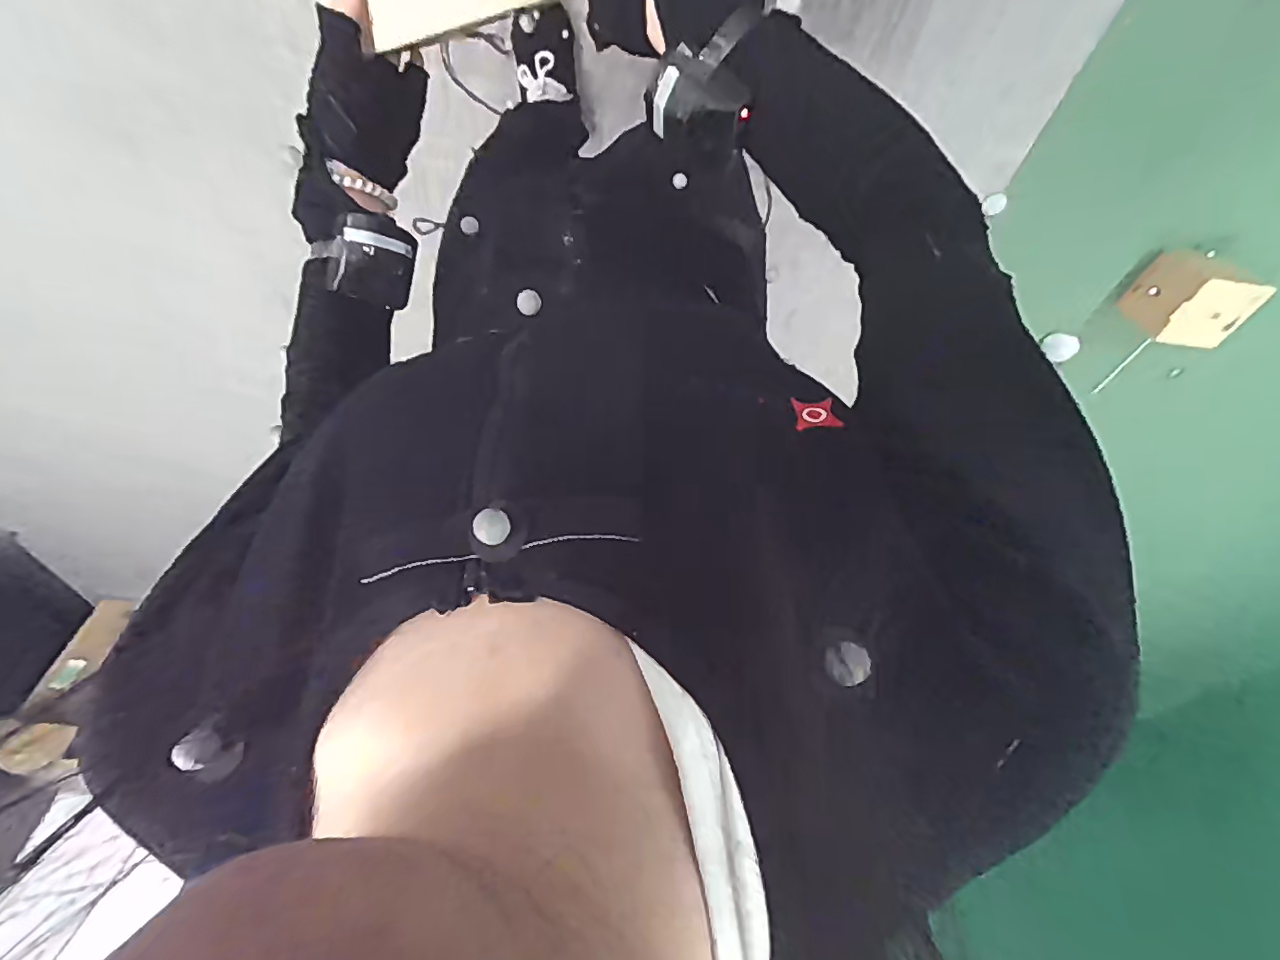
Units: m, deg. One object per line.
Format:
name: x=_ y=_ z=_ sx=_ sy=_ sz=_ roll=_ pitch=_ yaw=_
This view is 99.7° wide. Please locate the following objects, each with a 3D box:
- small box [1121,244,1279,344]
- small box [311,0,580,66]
small box: x=1.366 y=-0.463 z=1.339 sx=0.179 sy=0.176 sz=0.168 roll=7 pitch=138 yaw=-5
small box: x=-0.148 y=-0.427 z=0.391 sx=0.179 sy=0.176 sz=0.168 roll=-6 pitch=132 yaw=14
